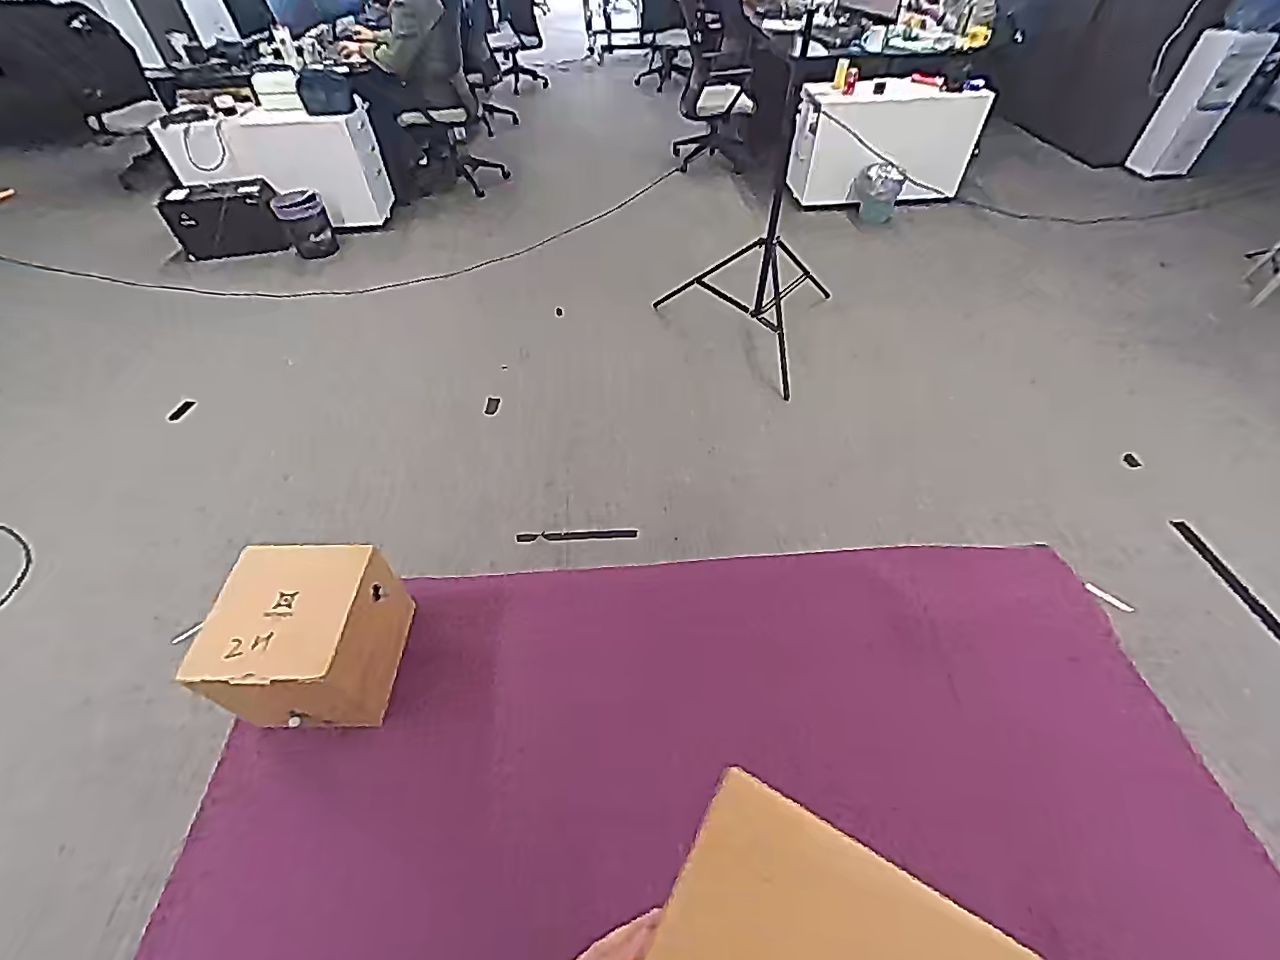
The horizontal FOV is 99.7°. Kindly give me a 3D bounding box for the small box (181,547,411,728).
[{"bbox_3d":[-0.416,0.204,0.698,0.168,0.176,0.179,-1,50,0],"label":"small box"}]

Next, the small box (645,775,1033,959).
[{"bbox_3d":[0.083,0.311,0.308,0.168,0.176,0.179,23,55,20],"label":"small box"}]
